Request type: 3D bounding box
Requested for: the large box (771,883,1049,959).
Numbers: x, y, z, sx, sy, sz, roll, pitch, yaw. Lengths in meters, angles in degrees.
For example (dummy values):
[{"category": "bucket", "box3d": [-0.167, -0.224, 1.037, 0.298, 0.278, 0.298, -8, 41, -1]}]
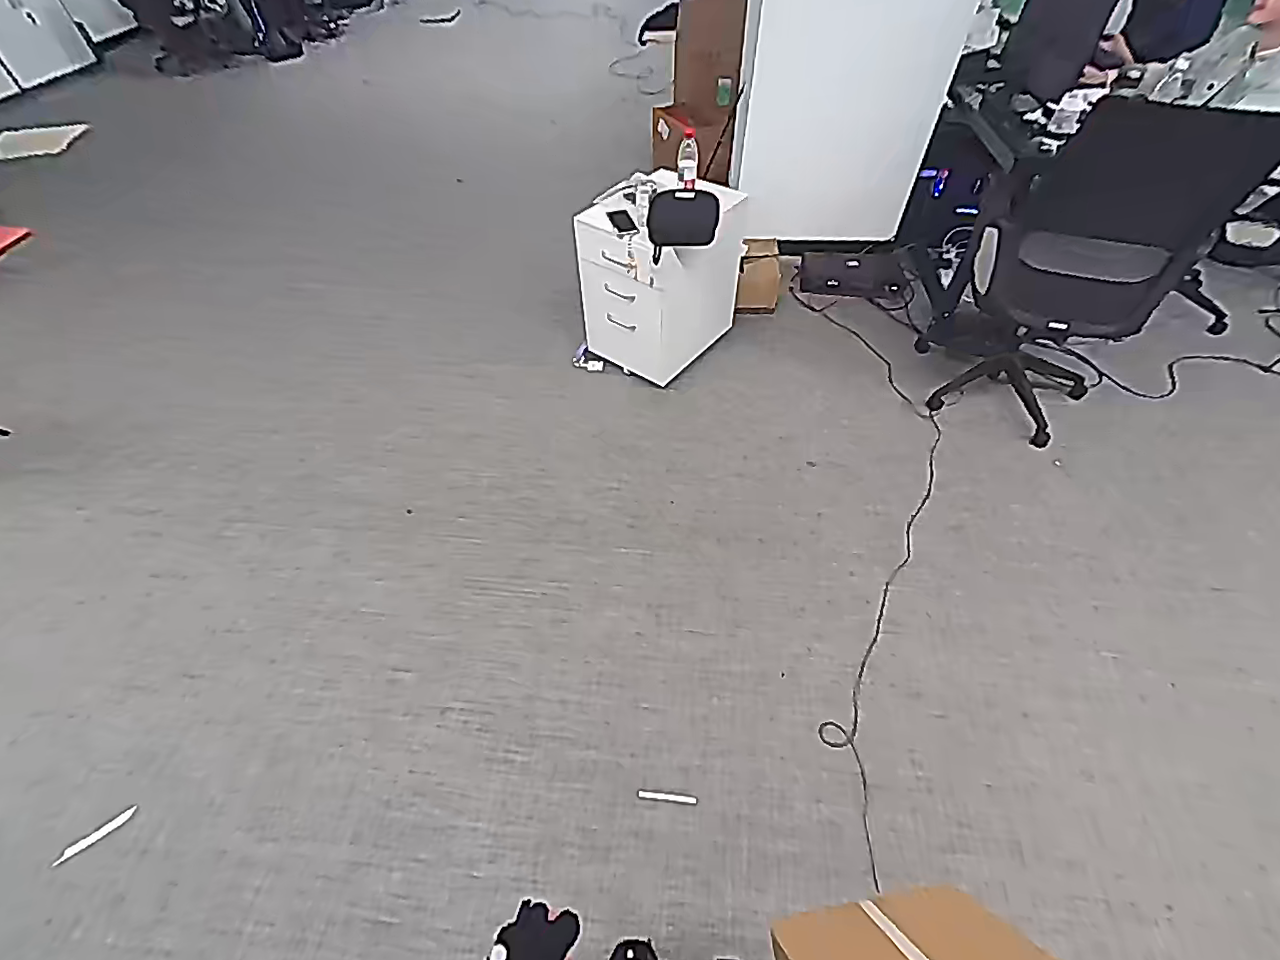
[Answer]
[{"category": "large box", "box3d": [0.389, 0.769, 0.636, 0.320, 0.408, 0.320, -7, 78, -7]}]
